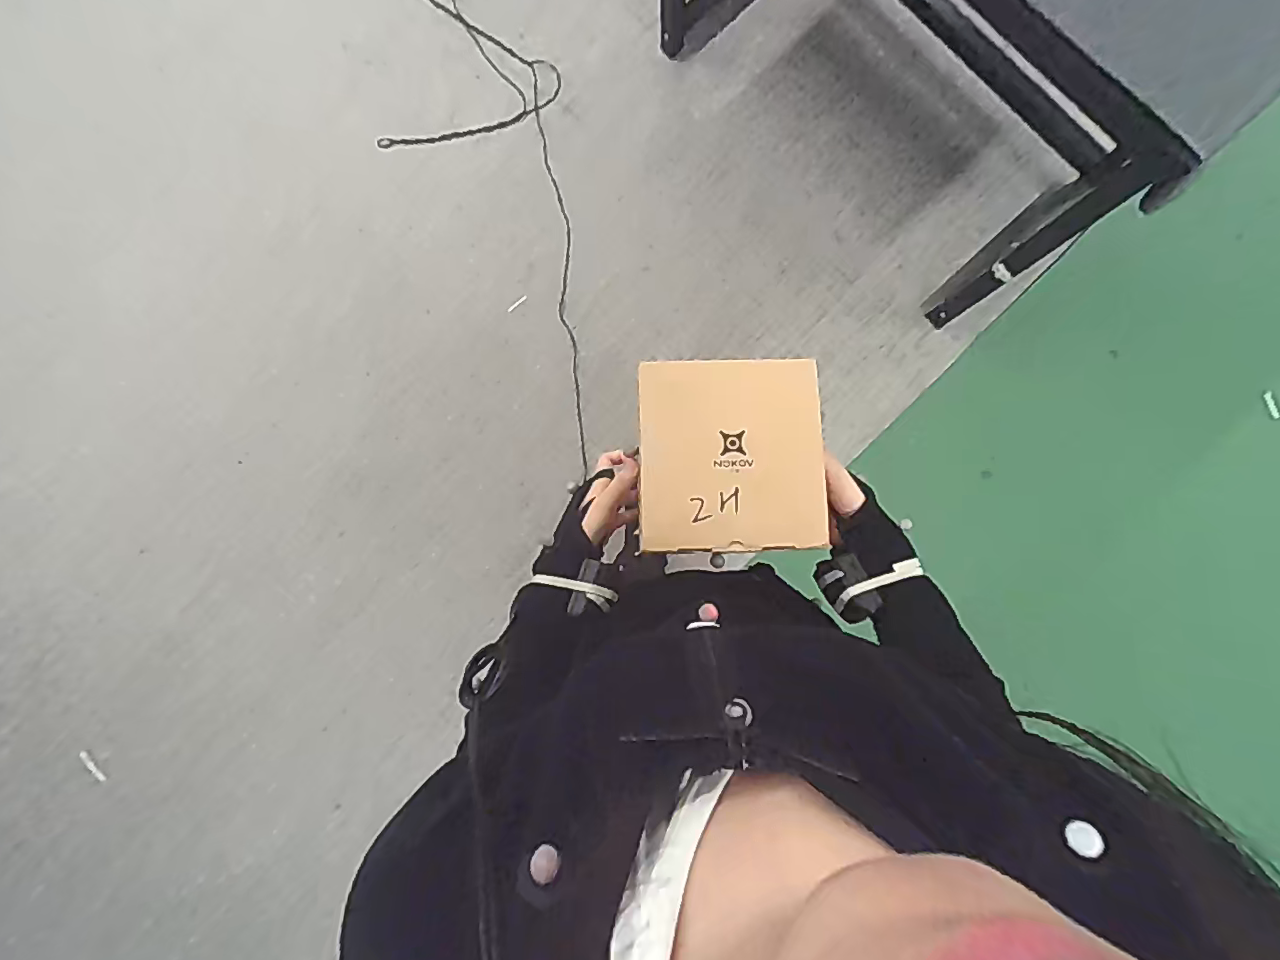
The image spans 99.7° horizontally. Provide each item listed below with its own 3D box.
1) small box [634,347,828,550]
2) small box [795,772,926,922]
[{"bbox_3d":[0.077,-0.020,0.551,0.168,0.176,0.179,-1,81,0],"label":"small box"},{"bbox_3d":[0.473,0.790,1.187,0.168,0.176,0.179,-43,86,-1],"label":"small box"}]
